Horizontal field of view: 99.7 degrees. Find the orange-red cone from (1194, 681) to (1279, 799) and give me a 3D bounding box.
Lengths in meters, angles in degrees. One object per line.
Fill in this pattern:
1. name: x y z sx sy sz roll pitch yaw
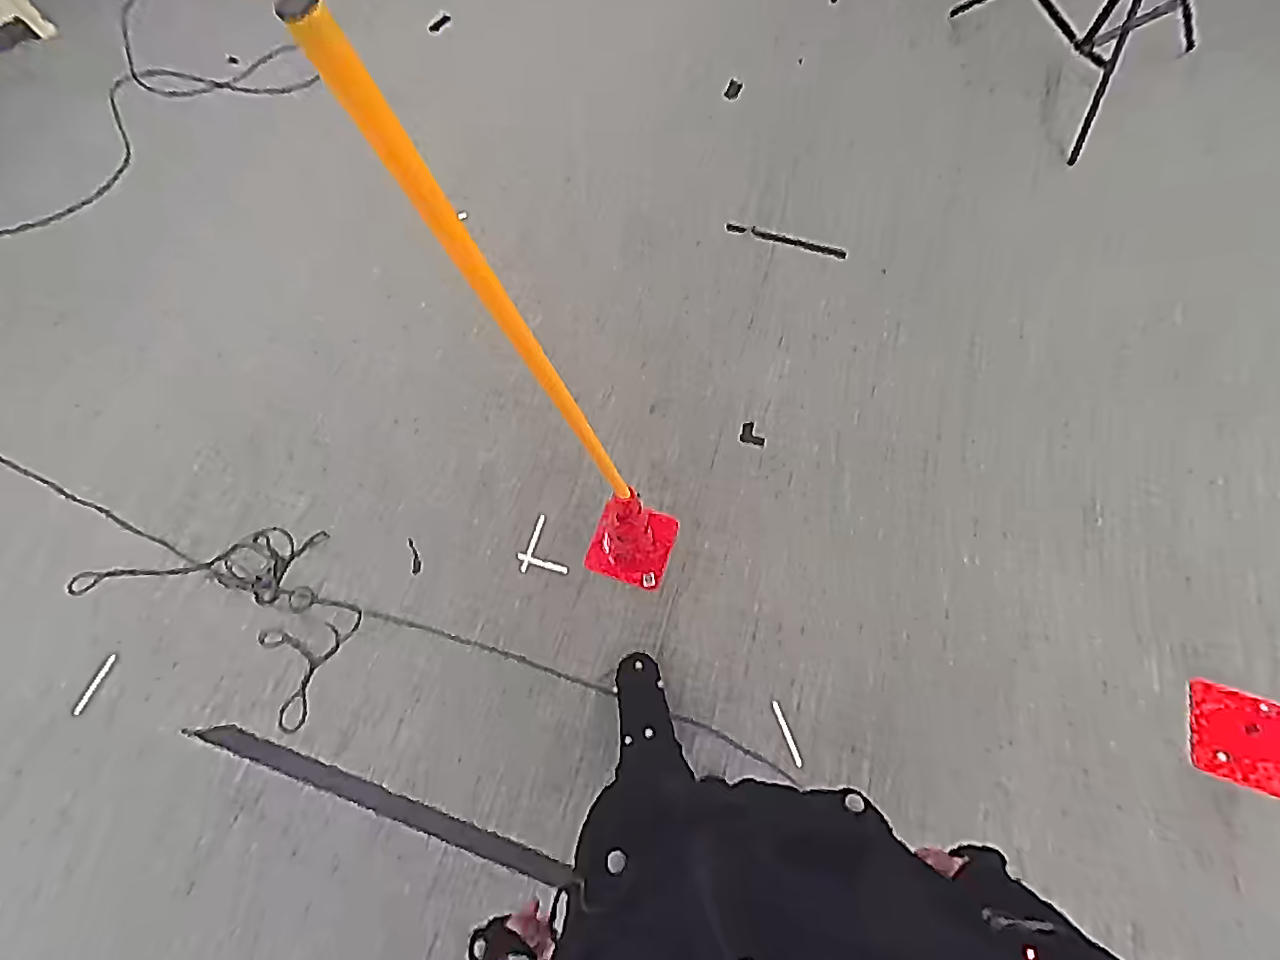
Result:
1. orange-red cone: 1.309 0.495 1.010 0.199 0.360 0.198 20 70 9
